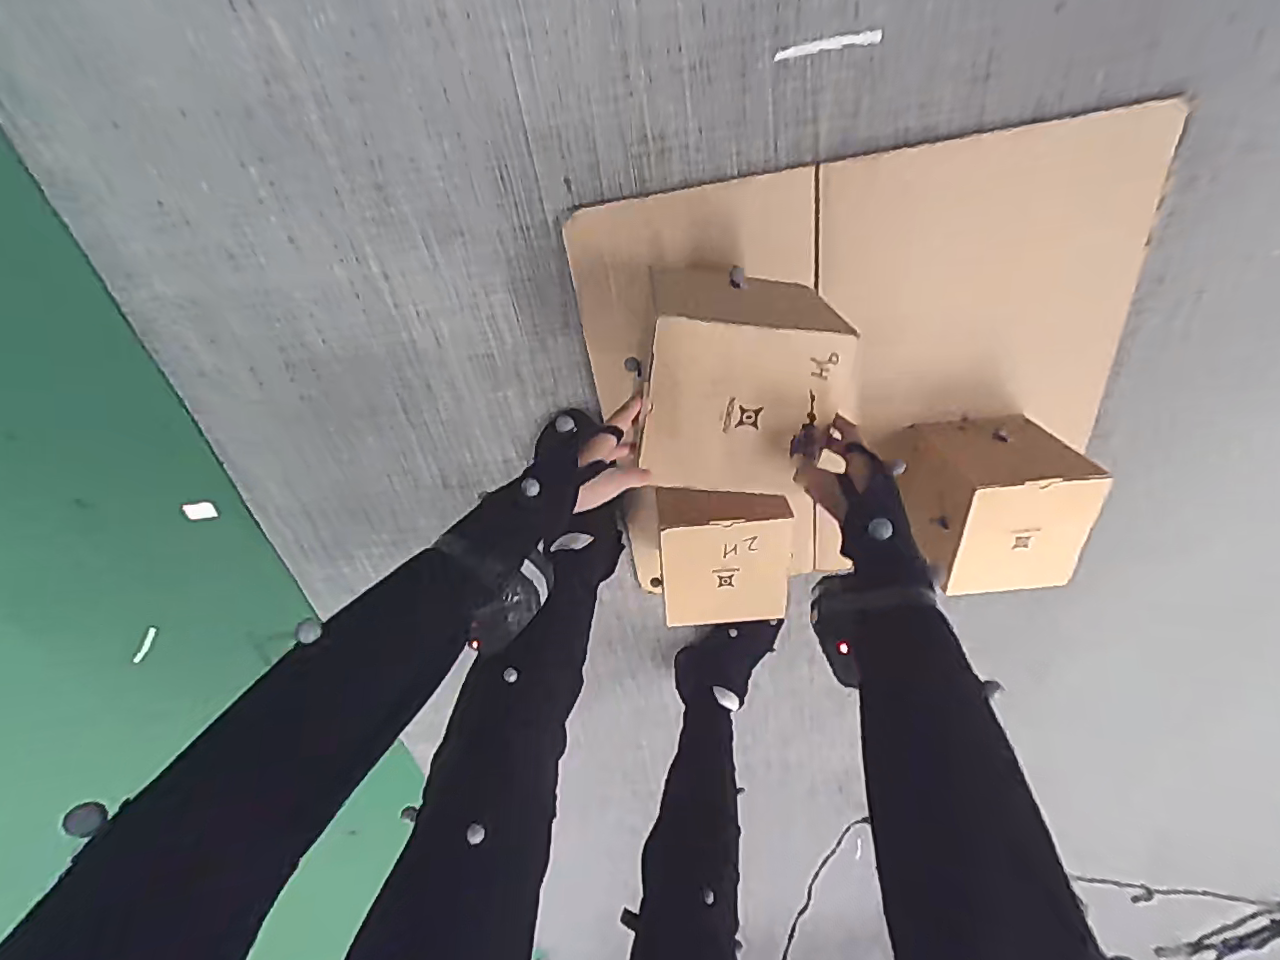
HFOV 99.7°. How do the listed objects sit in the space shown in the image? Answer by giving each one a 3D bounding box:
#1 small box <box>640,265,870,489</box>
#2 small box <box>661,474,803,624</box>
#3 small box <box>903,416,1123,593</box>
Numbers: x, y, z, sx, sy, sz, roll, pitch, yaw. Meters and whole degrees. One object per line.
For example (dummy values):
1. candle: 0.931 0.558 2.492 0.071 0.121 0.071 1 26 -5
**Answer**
1. small box: 0.096 -0.111 0.550 0.179 0.176 0.168 5 124 -4
2. small box: 0.118 0.077 0.761 0.168 0.176 0.179 -4 122 0
3. small box: 0.485 0.030 0.741 0.168 0.176 0.179 -5 121 1
